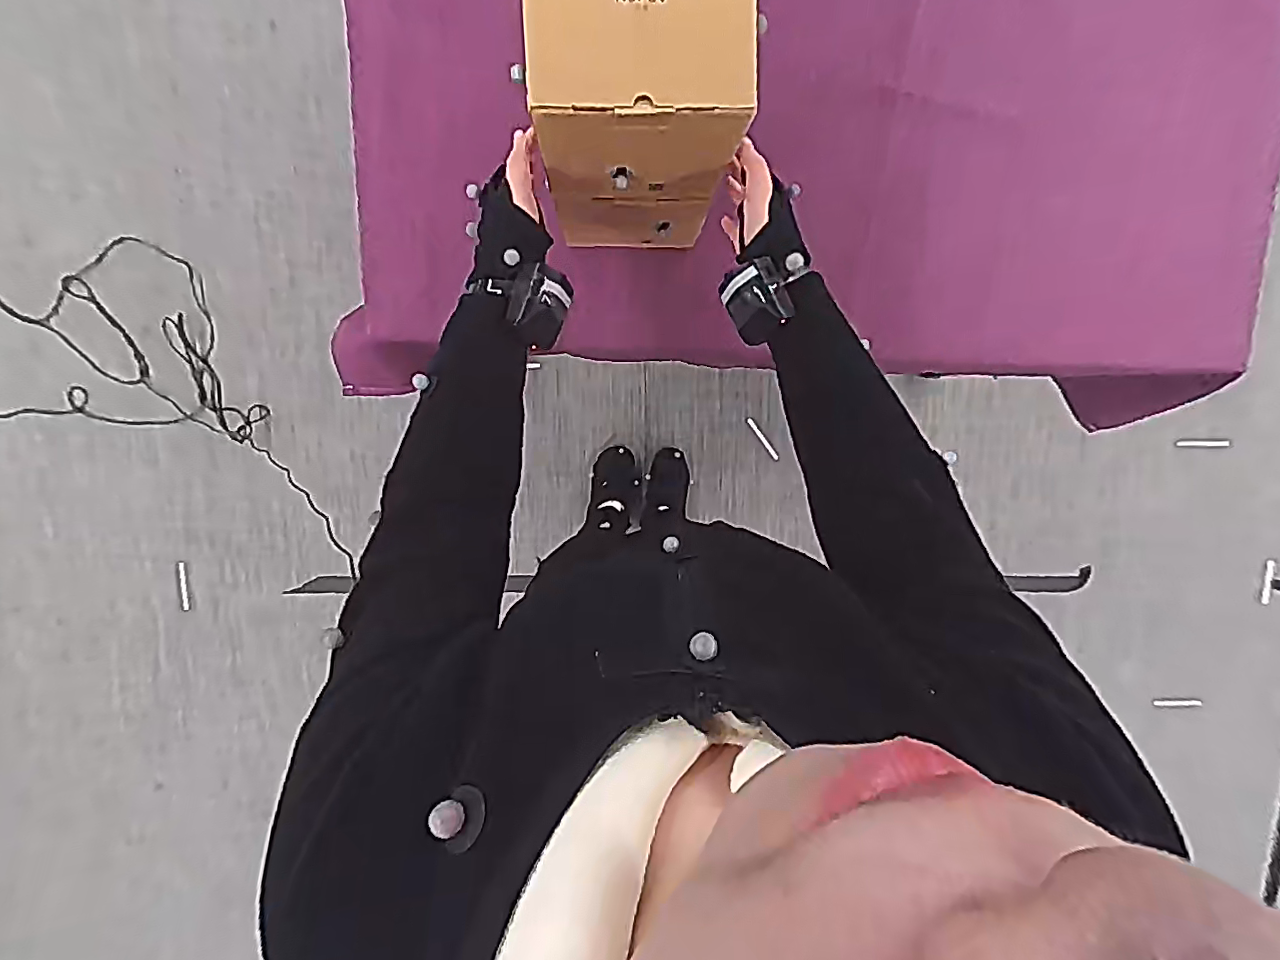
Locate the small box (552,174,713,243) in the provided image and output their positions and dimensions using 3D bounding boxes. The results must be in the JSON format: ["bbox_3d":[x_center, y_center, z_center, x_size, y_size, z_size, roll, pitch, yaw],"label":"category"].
[{"bbox_3d":[-0.009,-0.380,0.613,0.168,0.176,0.179,0,98,-3],"label":"small box"}]

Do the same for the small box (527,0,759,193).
[{"bbox_3d":[-0.004,-0.362,0.452,0.168,0.176,0.179,-3,100,-4],"label":"small box"}]
